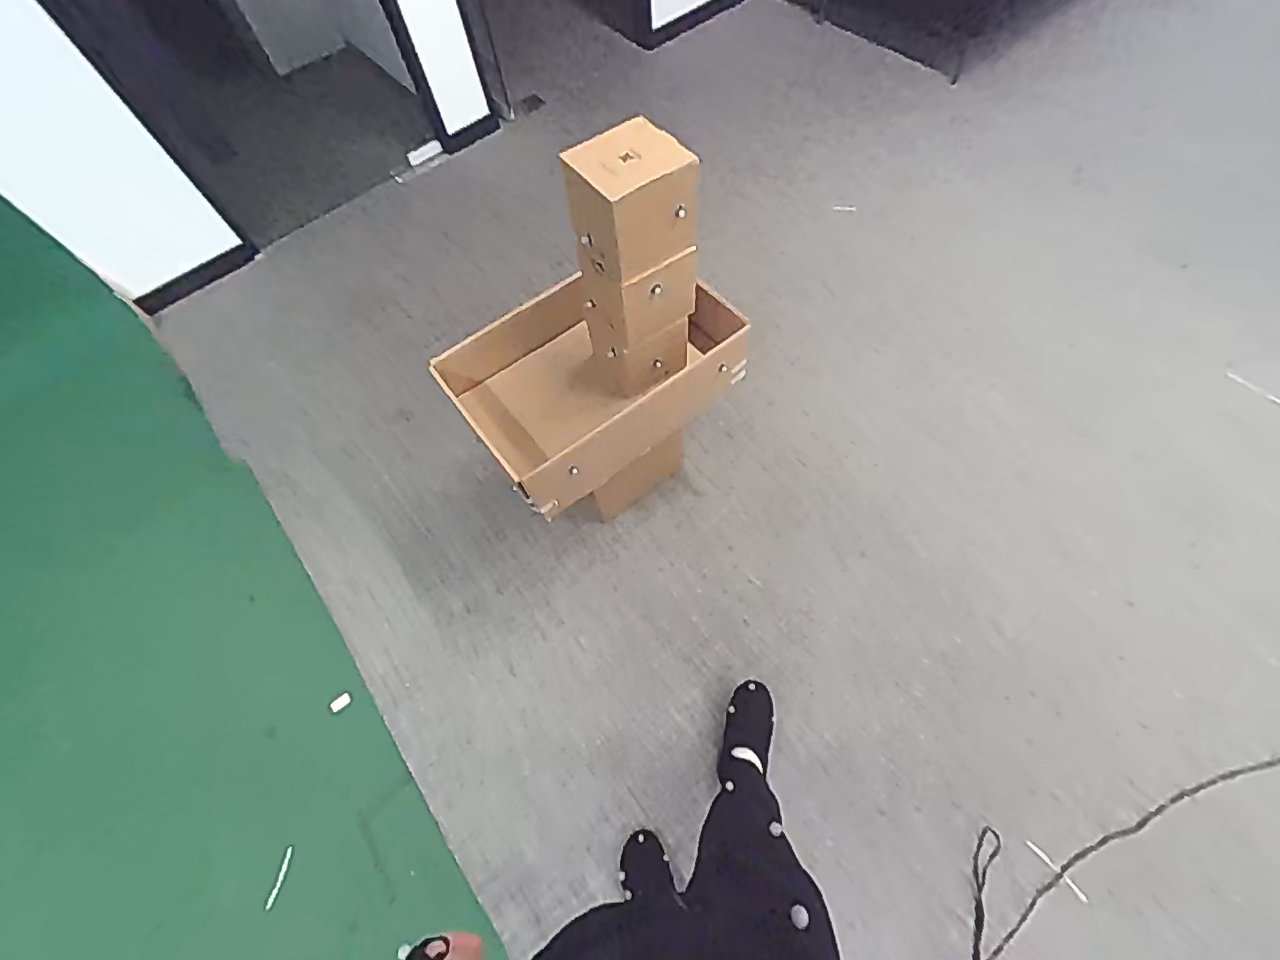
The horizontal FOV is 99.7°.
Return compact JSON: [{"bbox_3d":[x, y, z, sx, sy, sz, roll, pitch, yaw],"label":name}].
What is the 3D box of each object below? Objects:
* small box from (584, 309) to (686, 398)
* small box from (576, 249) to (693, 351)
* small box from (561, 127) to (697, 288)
[{"bbox_3d":[-0.006,-0.314,1.255,0.168,0.176,0.179,-31,63,-12],"label":"small box"},{"bbox_3d":[-0.005,-0.399,1.113,0.179,0.176,0.168,-32,64,-13],"label":"small box"},{"bbox_3d":[-0.017,-0.486,0.976,0.179,0.176,0.168,-33,64,-13],"label":"small box"}]
